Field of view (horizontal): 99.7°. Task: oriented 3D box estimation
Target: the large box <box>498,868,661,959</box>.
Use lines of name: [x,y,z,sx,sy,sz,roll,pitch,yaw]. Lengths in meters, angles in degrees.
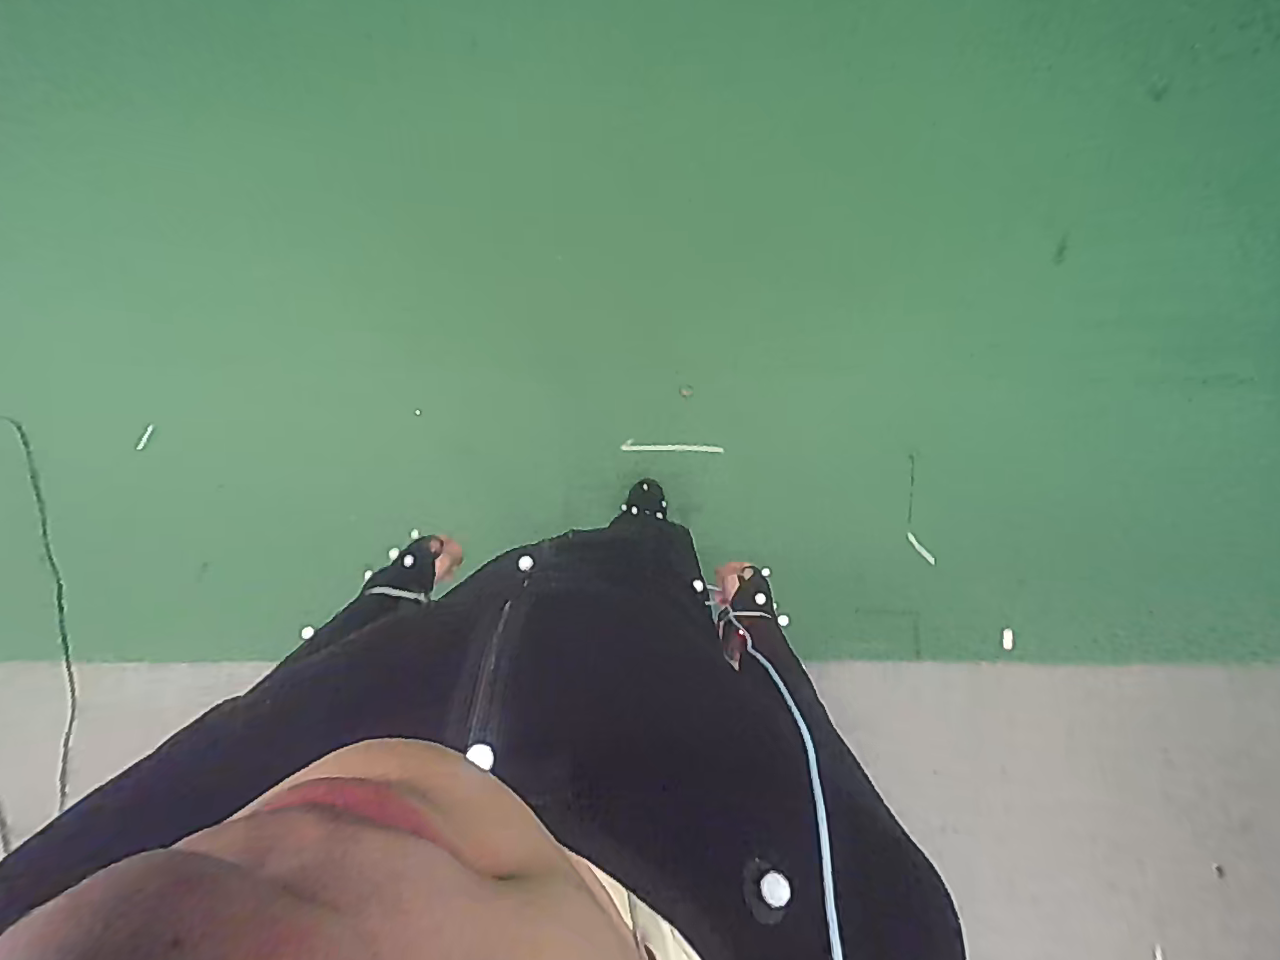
large box: [-0.147,1.304,1.455,0.408,0.320,0.320,-1,87,-1]
